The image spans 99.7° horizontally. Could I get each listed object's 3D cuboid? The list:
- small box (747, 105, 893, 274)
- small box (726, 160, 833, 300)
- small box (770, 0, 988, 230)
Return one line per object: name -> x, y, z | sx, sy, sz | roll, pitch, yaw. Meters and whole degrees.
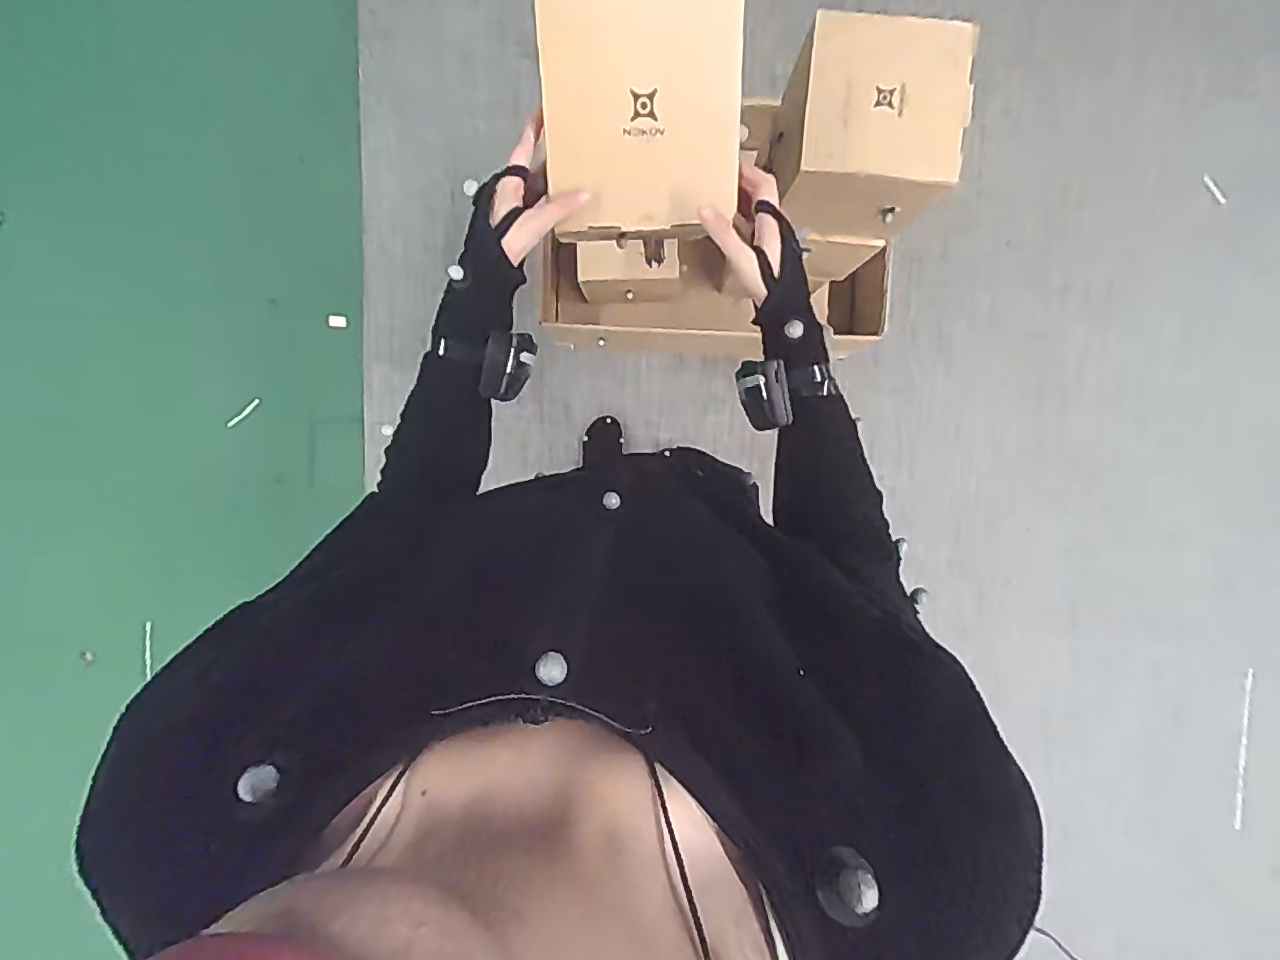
small box -> 0.263, -0.418, 0.805 | 0.179, 0.176, 0.168 | 6, 95, 0
small box -> 0.253, -0.434, 0.968 | 0.168, 0.176, 0.179 | 7, 95, 1
small box -> 0.266, -0.415, 0.642 | 0.179, 0.176, 0.168 | 6, 94, 1
